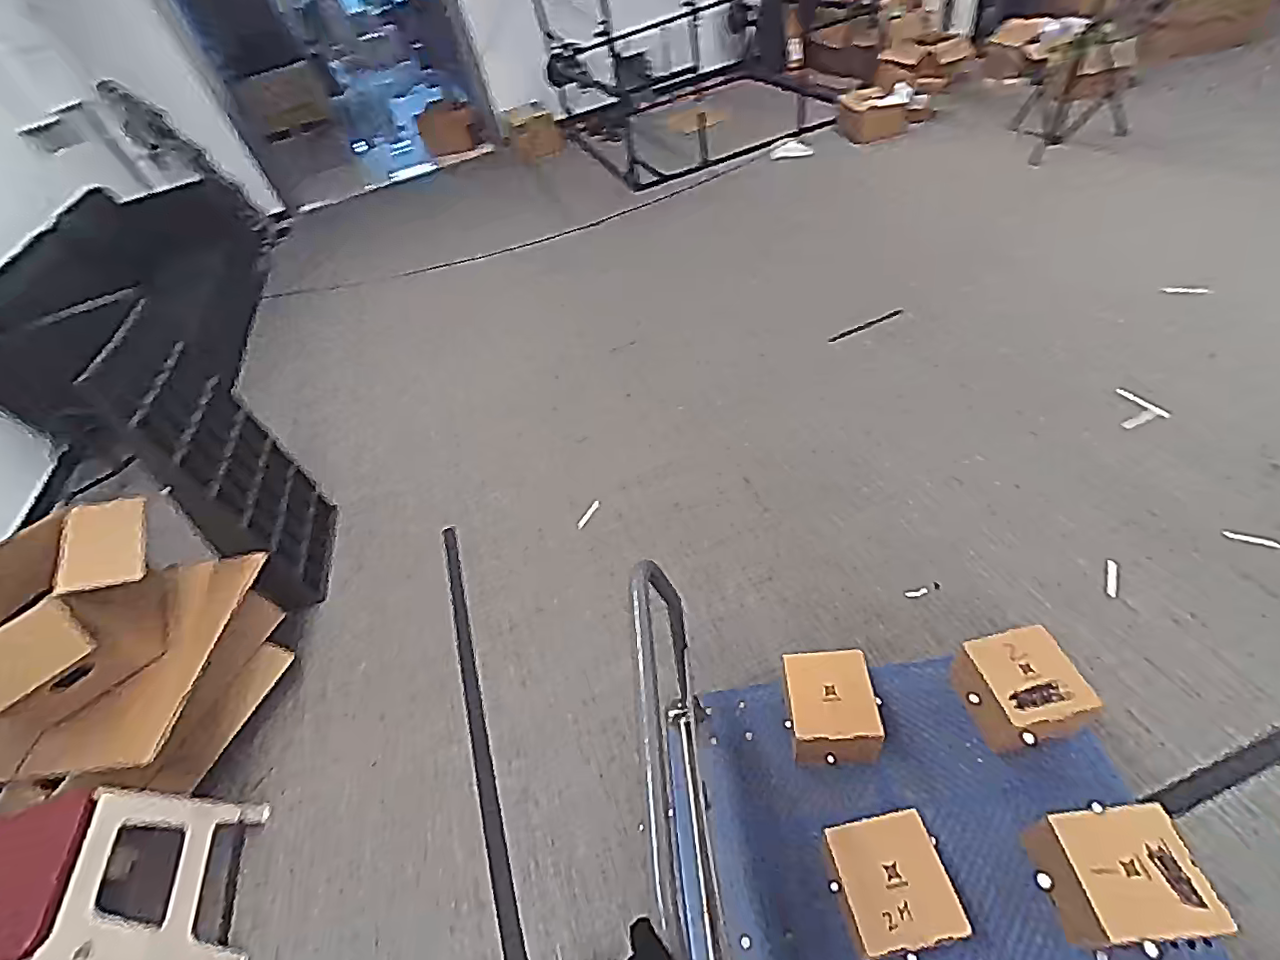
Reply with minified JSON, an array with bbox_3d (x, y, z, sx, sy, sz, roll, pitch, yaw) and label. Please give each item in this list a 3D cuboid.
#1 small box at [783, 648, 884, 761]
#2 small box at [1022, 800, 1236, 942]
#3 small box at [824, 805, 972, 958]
[{"bbox_3d":[0.402,0.481,1.156,0.168,0.176,0.179,-7,48,8],"label":"small box"},{"bbox_3d":[0.783,0.648,0.893,0.179,0.176,0.168,-11,46,7],"label":"small box"},{"bbox_3d":[0.431,0.700,0.942,0.168,0.176,0.179,-15,45,2],"label":"small box"}]
